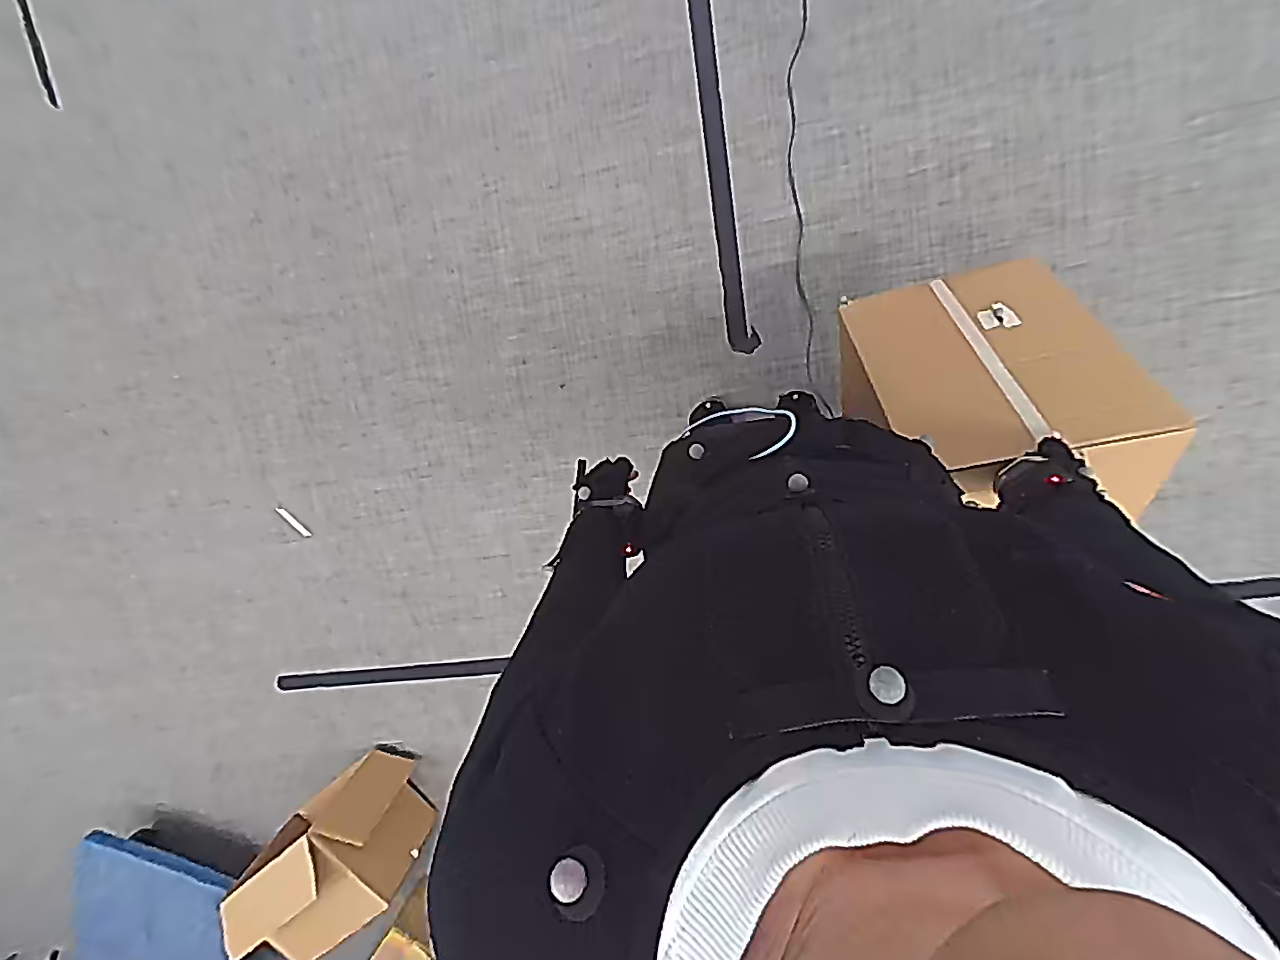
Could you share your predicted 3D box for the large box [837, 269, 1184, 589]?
[{"bbox_3d":[0.544,-0.083,0.909,0.320,0.408,0.320,-11,137,11],"label":"large box"}]
